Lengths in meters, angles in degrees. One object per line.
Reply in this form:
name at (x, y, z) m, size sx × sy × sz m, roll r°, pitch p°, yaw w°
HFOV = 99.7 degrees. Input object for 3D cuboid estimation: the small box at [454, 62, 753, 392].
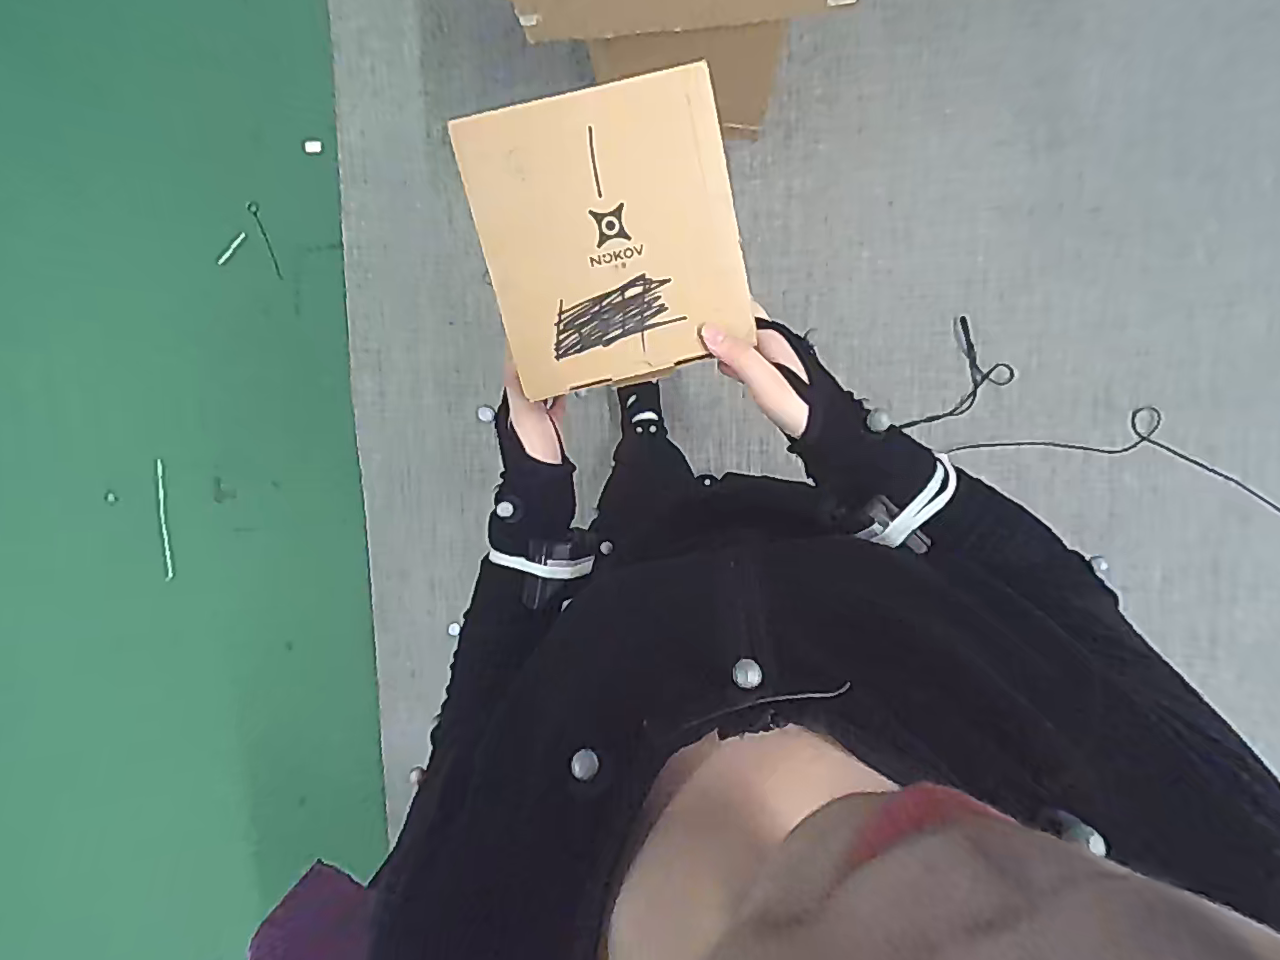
small box at (-0.023, -0.177, 0.430) m, size 0.168 × 0.176 × 0.179 m, roll -14°, pitch 102°, yaw -2°
